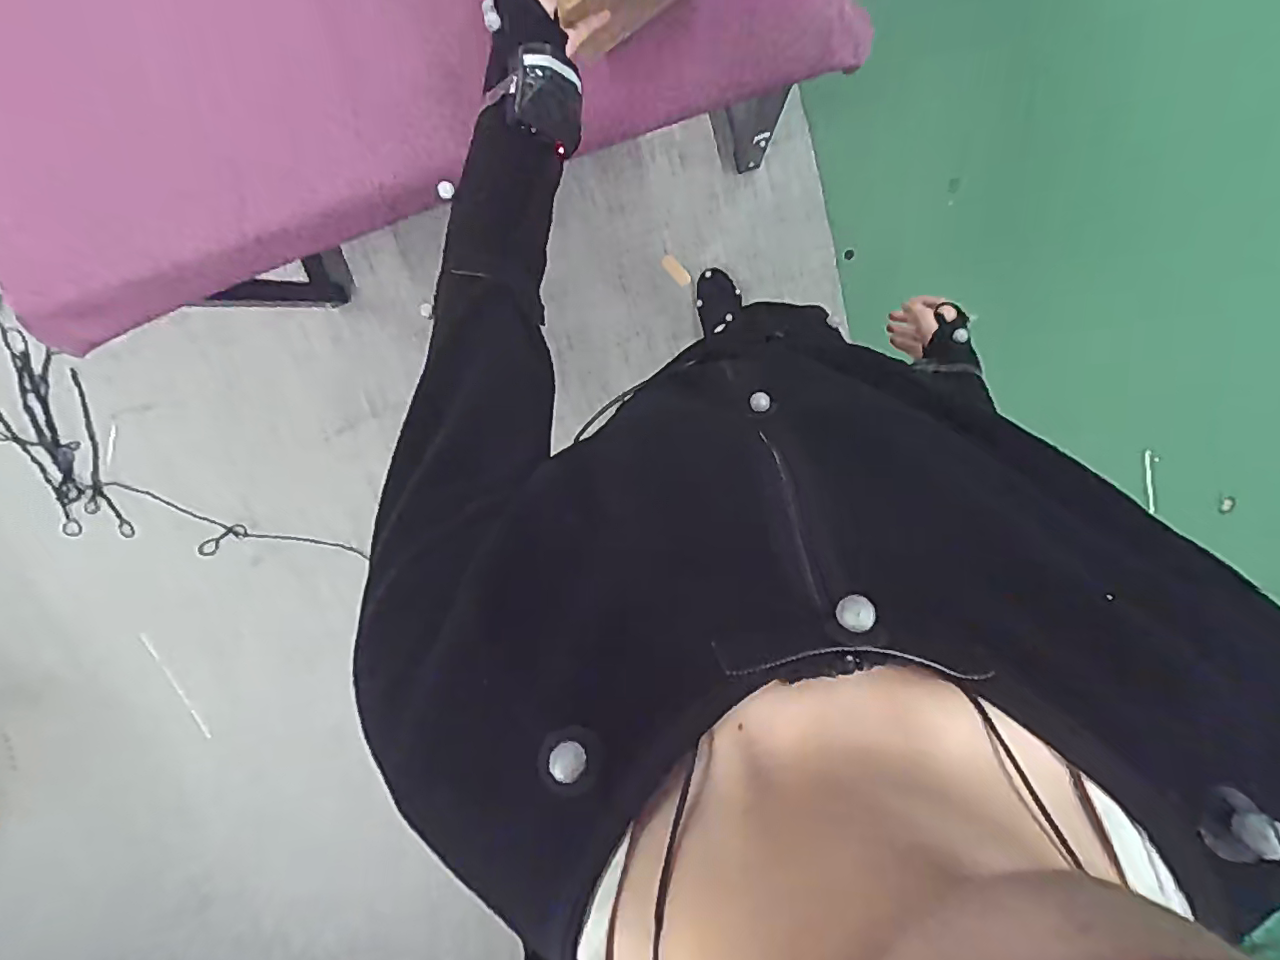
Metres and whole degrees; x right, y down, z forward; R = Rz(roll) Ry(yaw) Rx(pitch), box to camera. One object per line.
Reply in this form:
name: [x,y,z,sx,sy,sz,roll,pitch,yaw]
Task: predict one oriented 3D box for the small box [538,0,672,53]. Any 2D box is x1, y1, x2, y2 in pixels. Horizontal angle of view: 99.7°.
small box: [-0.032,-0.535,0.487,0.179,0.176,0.168,-23,112,15]
